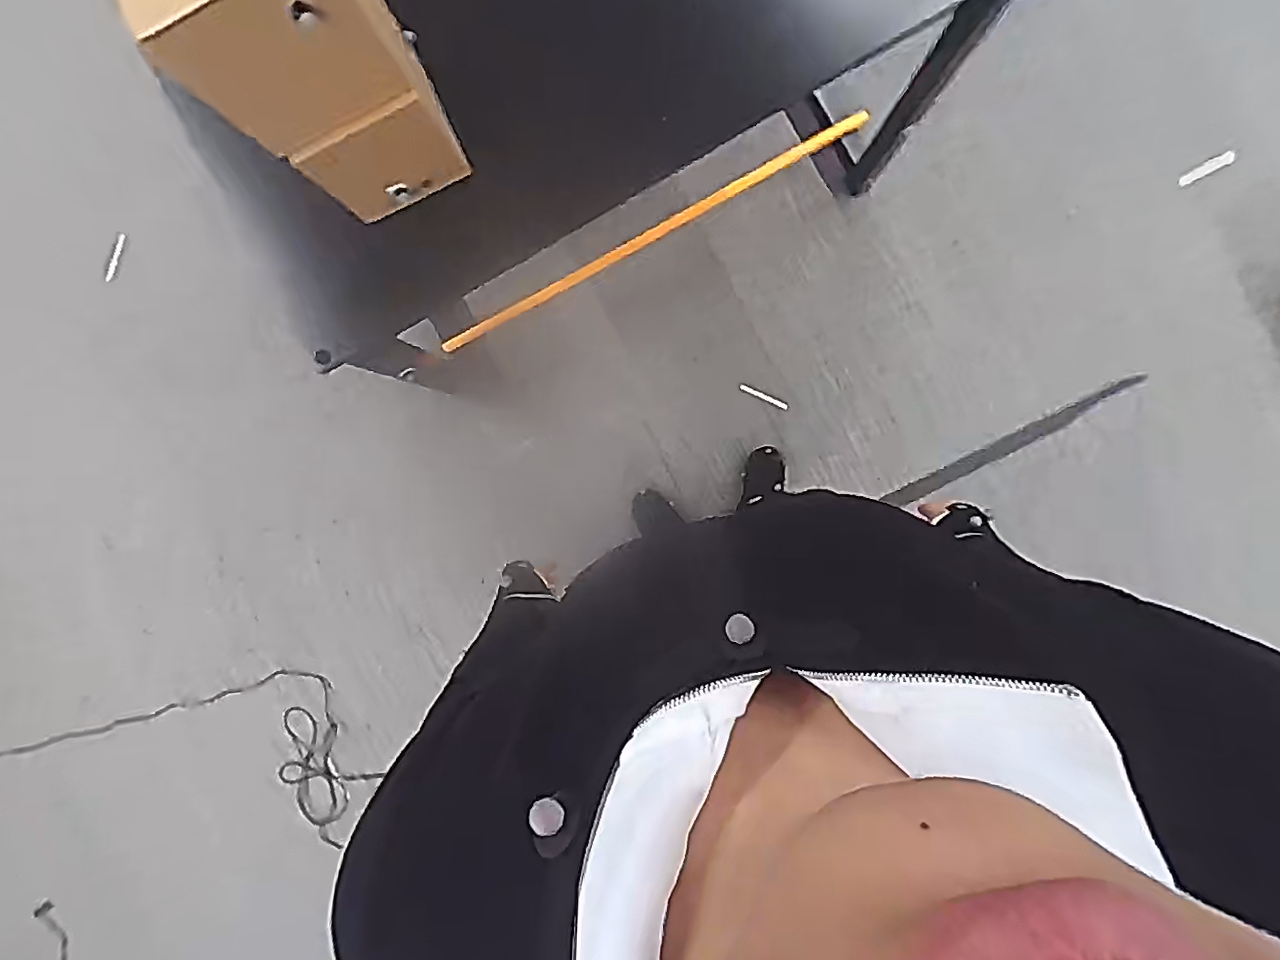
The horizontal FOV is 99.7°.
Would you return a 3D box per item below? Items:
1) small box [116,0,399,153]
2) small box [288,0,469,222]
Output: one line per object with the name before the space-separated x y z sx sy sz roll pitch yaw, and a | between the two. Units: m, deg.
small box | -0.361 -0.464 0.515 0.179 0.176 0.168 -26 90 4
small box | -0.346 -0.467 0.680 0.168 0.176 0.179 -26 92 4
